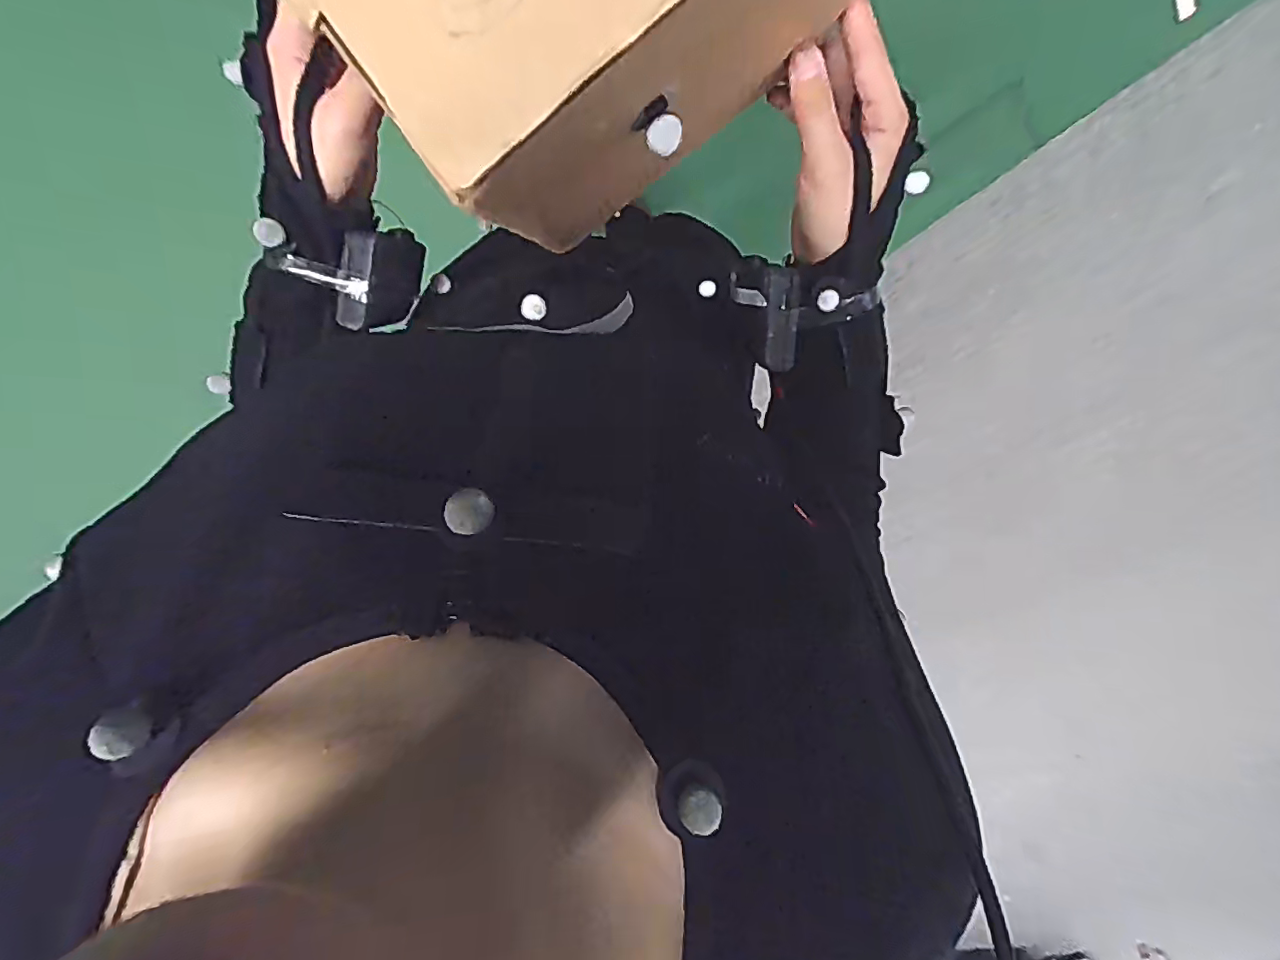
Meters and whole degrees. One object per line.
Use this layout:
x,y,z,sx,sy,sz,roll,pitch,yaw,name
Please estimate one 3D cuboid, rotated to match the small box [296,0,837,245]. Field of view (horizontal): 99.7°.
-0.027,-0.215,0.205,0.179,0.176,0.168,-32,102,13,small box
